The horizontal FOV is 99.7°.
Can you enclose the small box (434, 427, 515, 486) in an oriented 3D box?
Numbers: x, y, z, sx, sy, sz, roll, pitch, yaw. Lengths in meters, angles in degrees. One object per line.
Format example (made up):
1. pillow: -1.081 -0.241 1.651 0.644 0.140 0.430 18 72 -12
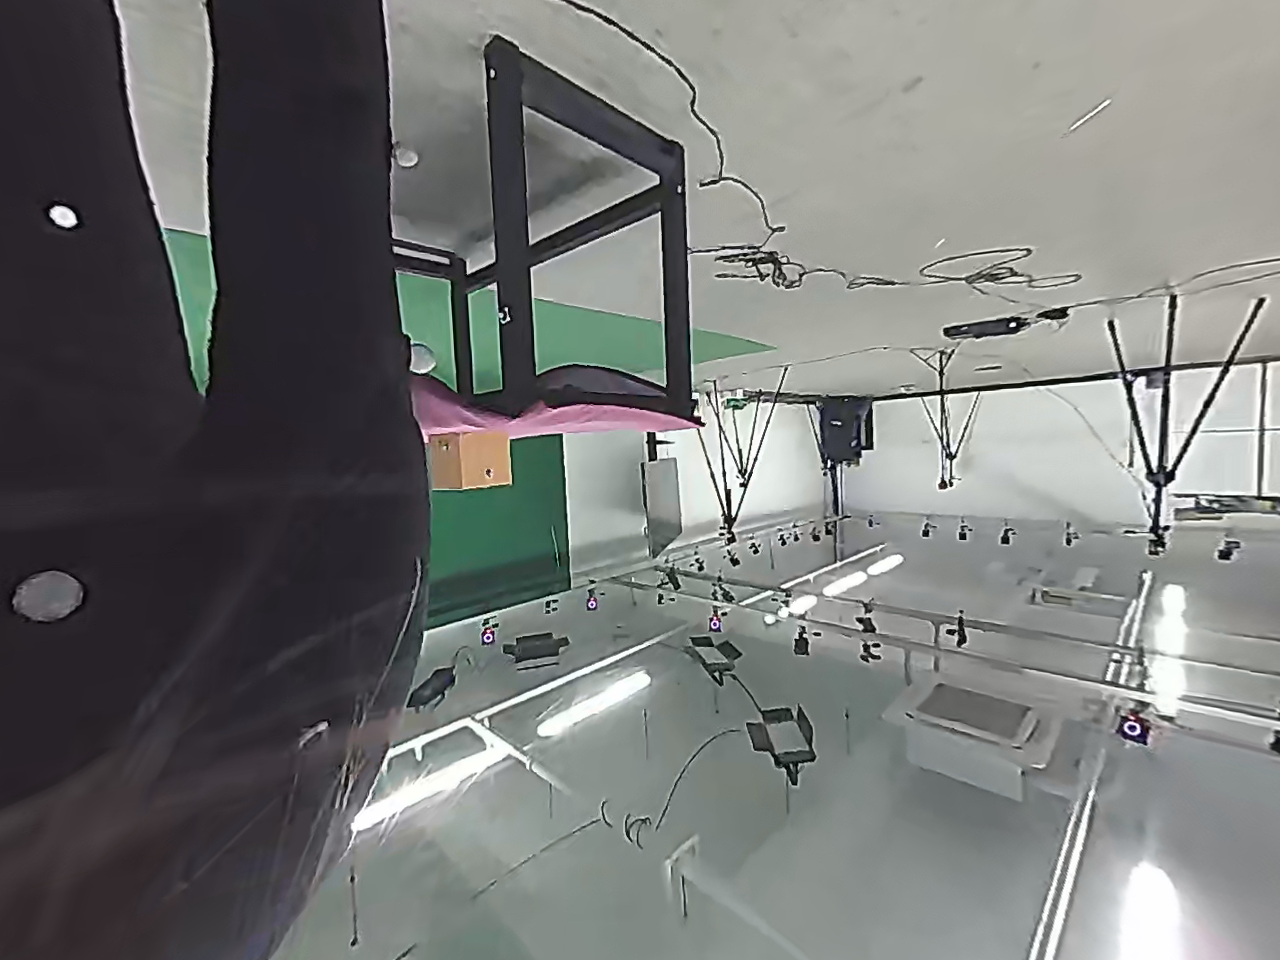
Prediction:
1. small box: -0.501 -0.074 1.636 0.168 0.176 0.179 0 -176 39
